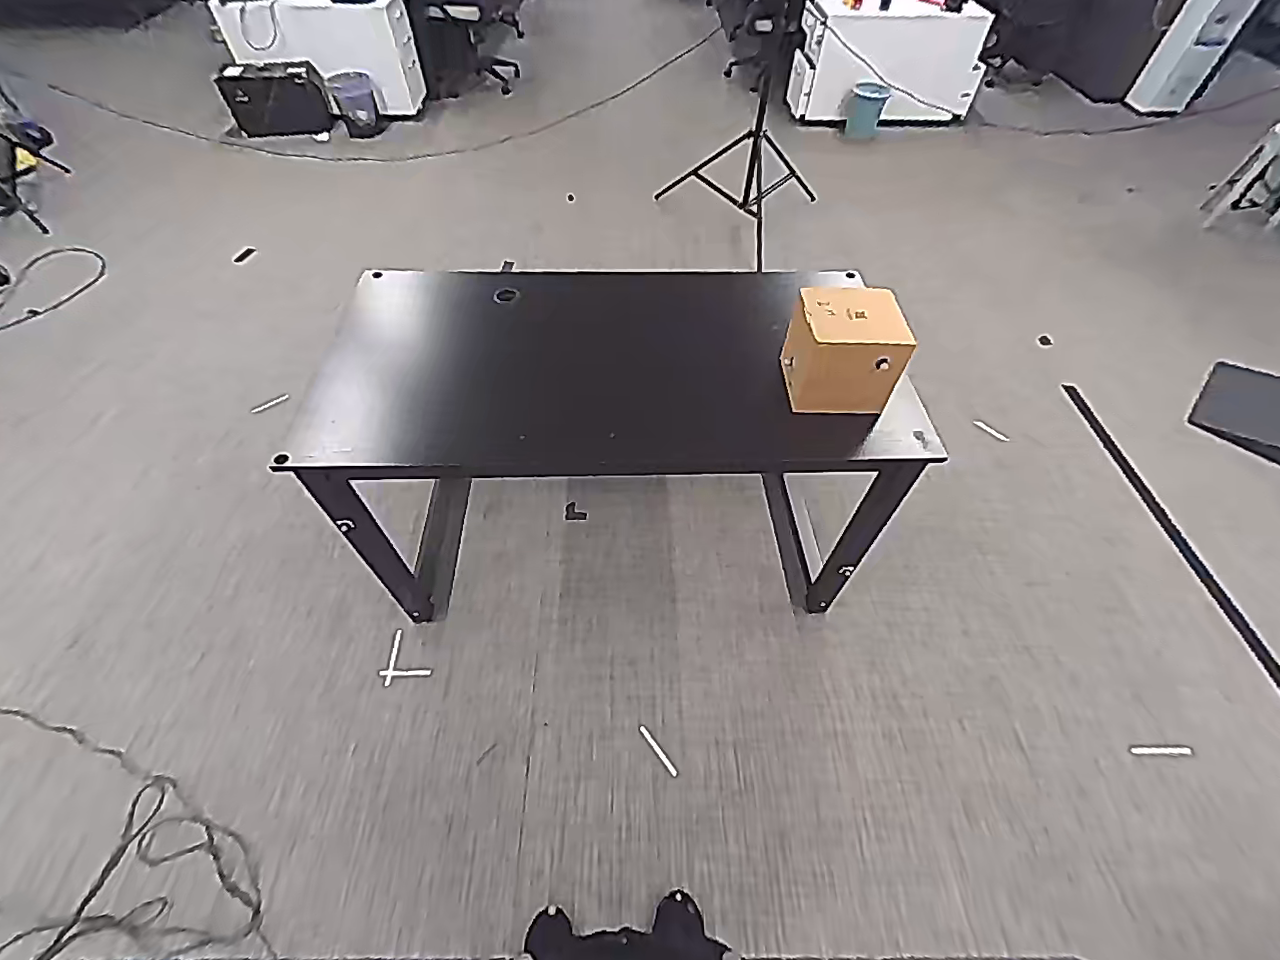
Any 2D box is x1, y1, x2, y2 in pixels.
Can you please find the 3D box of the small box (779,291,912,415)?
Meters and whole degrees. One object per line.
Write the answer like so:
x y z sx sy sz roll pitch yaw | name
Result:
0.378 -0.238 1.028 0.179 0.176 0.168 0 51 0 | small box
